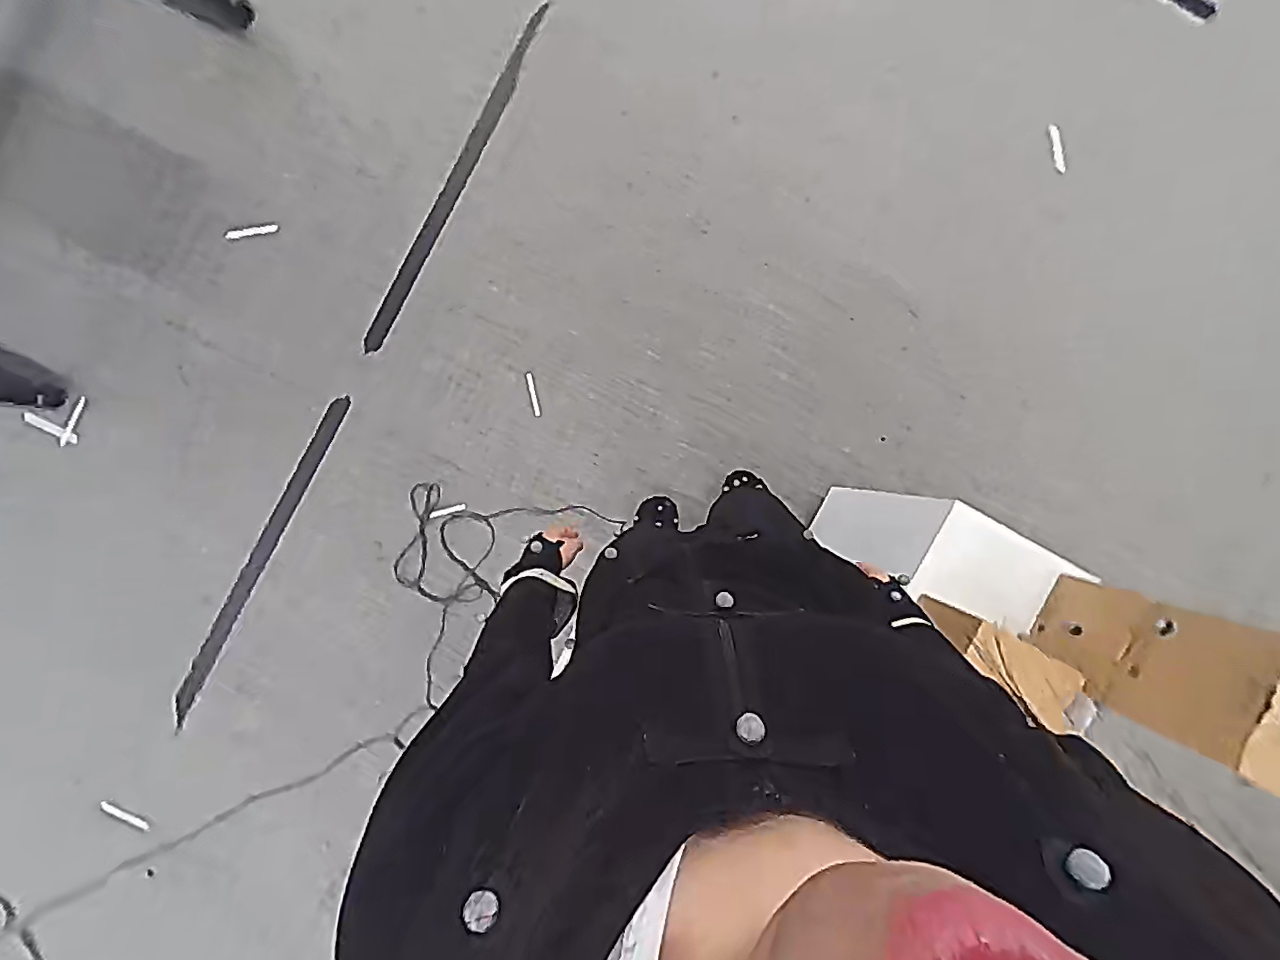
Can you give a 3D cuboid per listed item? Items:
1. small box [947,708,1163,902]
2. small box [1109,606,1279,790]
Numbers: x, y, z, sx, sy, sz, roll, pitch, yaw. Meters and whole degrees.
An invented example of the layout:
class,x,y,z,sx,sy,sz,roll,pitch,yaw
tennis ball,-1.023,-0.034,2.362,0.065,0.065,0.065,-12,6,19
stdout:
class,x,y,z,sx,sy,sz,roll,pitch,yaw
small box,0.630,0.489,0.848,0.179,0.176,0.168,30,91,-2
small box,0.757,0.275,0.675,0.179,0.176,0.168,26,92,-2
